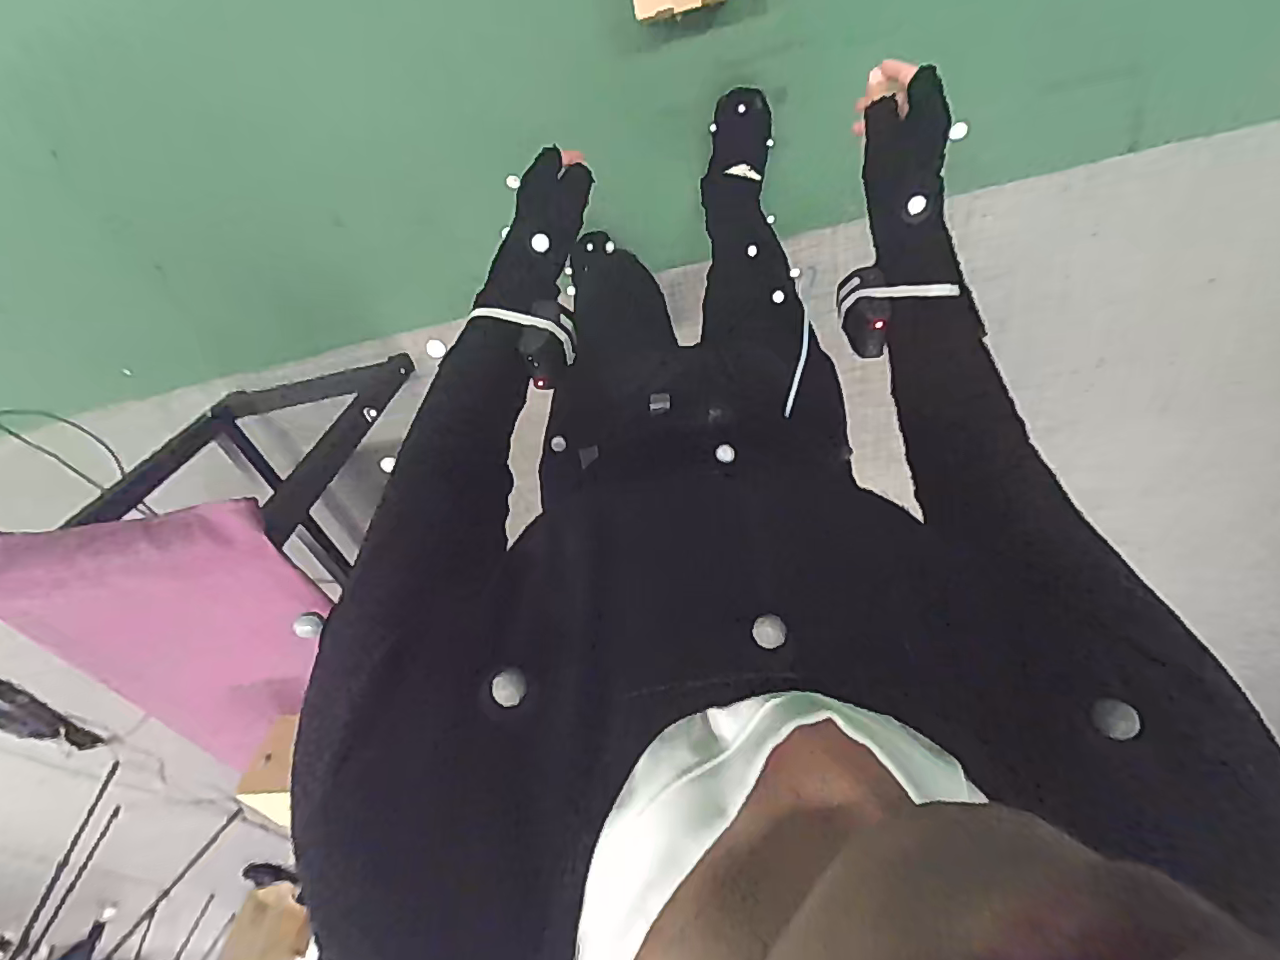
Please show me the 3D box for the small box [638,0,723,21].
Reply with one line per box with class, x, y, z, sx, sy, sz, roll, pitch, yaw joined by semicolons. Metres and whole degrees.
small box;0.065;-0.870;0.866;0.168;0.176;0.179;-9;128;10
